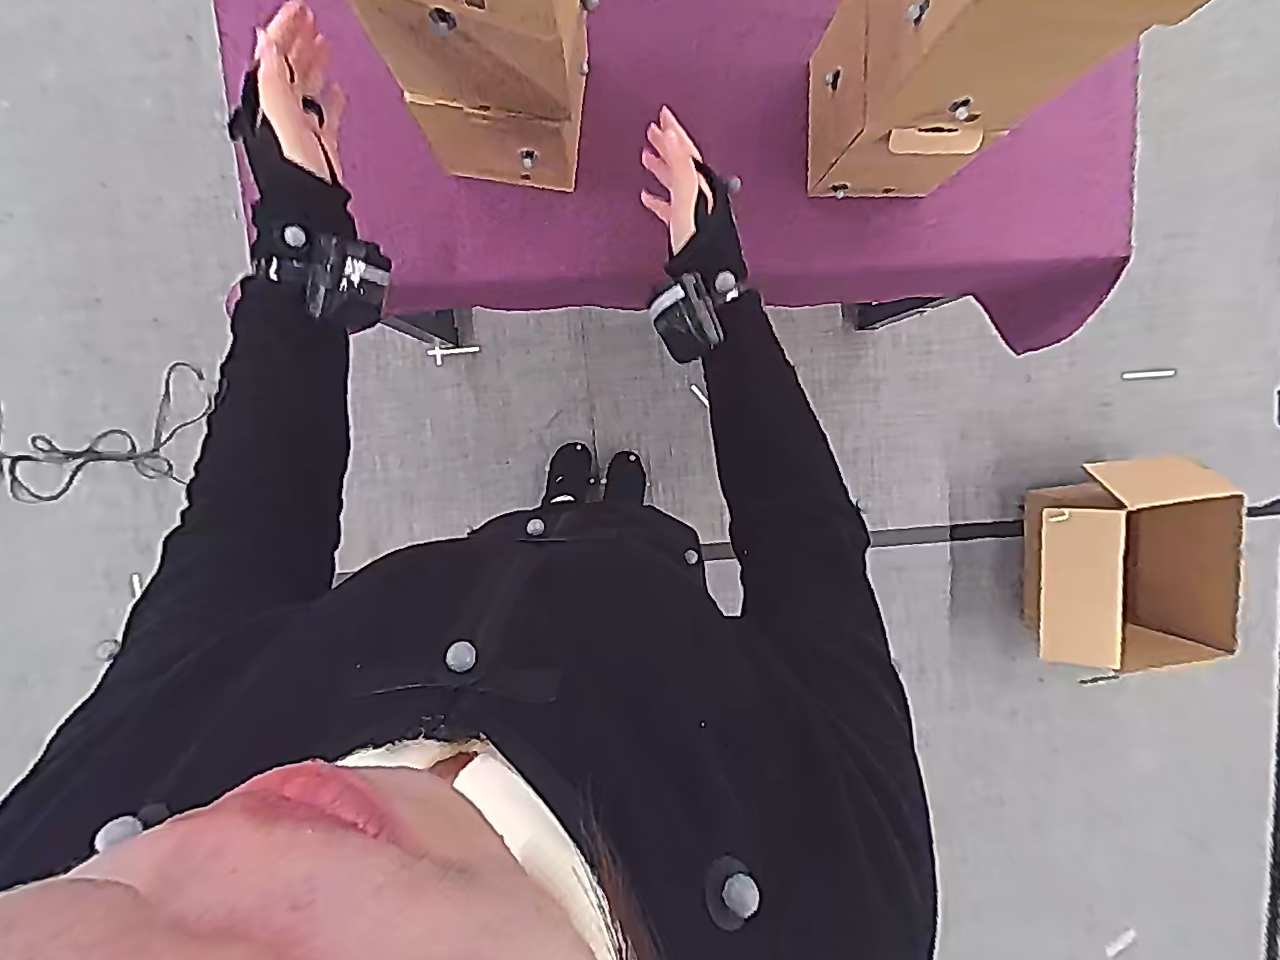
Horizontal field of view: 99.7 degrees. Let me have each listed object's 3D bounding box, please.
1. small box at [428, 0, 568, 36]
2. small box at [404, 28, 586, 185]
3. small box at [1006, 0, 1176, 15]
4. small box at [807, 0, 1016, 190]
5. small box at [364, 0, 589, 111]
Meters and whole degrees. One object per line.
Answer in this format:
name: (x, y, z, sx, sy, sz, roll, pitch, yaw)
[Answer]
small box: (-0.111, -0.418, 0.305, 0.168, 0.176, 0.179, 13, 95, -6)
small box: (-0.154, -0.473, 0.626, 0.168, 0.176, 0.179, 7, 95, -5)
small box: (0.334, -0.431, 0.327, 0.179, 0.176, 0.168, 1, 96, -4)
small box: (0.310, -0.470, 0.650, 0.168, 0.176, 0.179, -1, 95, -3)
small box: (-0.139, -0.457, 0.464, 0.179, 0.176, 0.168, 8, 97, -5)
